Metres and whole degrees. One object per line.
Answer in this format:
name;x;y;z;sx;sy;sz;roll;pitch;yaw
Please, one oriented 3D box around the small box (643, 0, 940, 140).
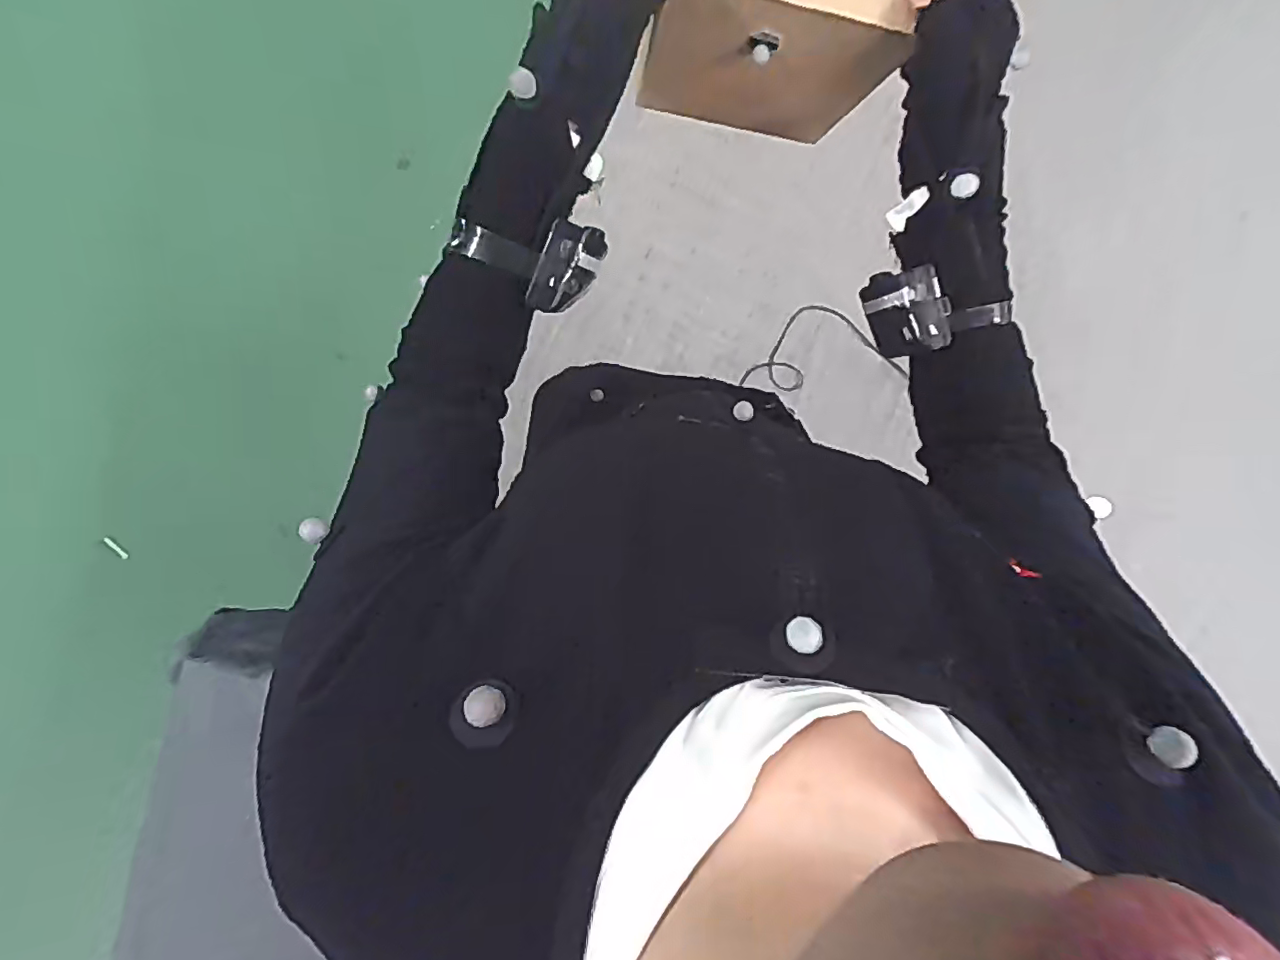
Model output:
small box;0.105;-0.387;0.404;0.179;0.176;0.168;6;100;-10
